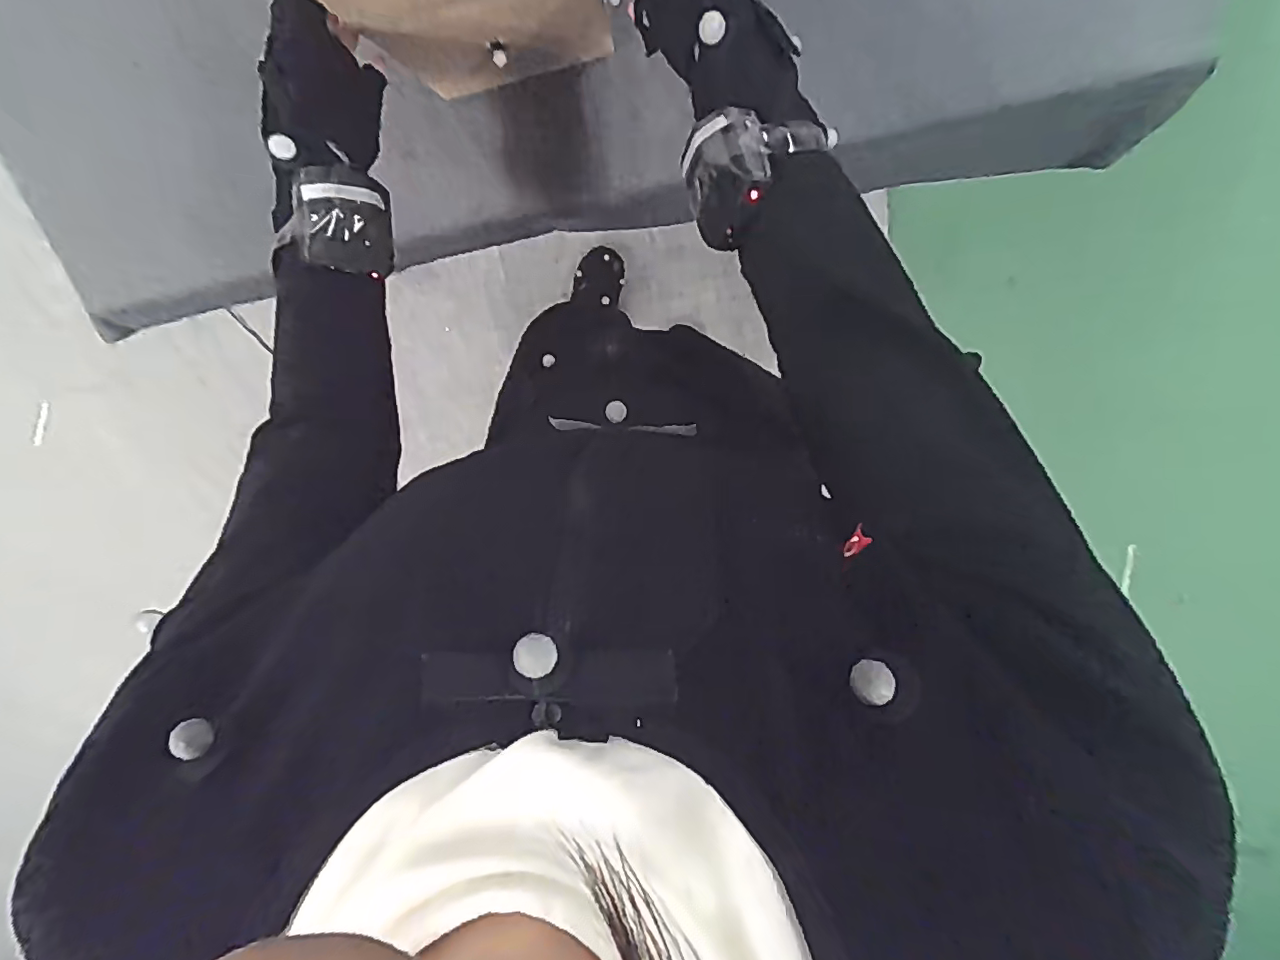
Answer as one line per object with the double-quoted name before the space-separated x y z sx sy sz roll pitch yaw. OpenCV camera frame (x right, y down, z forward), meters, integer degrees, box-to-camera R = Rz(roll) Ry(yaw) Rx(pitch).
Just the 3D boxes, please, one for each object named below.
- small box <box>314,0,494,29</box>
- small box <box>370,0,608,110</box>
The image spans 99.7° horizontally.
"small box" -0.141 -0.374 0.278 0.168 0.176 0.179 -11 111 6
"small box" -0.128 -0.431 0.431 0.179 0.176 0.168 -15 111 6
